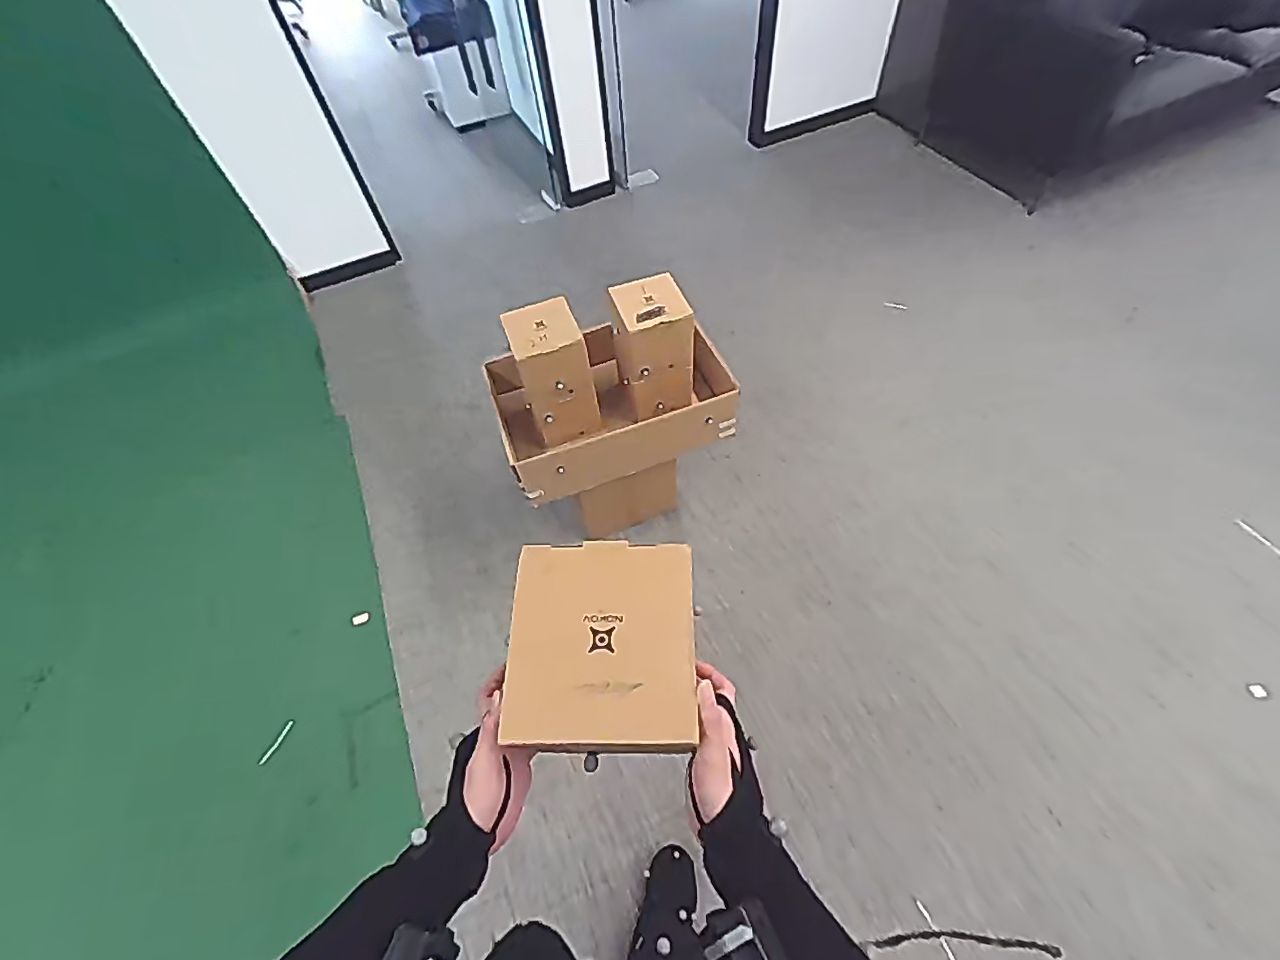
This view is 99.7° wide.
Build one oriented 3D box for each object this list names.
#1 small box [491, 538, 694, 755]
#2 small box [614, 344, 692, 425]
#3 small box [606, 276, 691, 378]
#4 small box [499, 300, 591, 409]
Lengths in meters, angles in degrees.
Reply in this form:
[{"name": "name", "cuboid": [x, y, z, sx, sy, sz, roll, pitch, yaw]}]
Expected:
[{"name": "small box", "cuboid": [-0.036, 0.171, 0.540, 0.168, 0.176, 0.179, -1, 60, 2]}, {"name": "small box", "cuboid": [0.034, -0.284, 1.501, 0.168, 0.176, 0.179, -18, 57, -8]}, {"name": "small box", "cuboid": [0.025, -0.378, 1.365, 0.168, 0.176, 0.179, -17, 56, -8]}, {"name": "small box", "cuboid": [-0.232, -0.308, 1.335, 0.168, 0.176, 0.179, -20, 56, -8]}]
